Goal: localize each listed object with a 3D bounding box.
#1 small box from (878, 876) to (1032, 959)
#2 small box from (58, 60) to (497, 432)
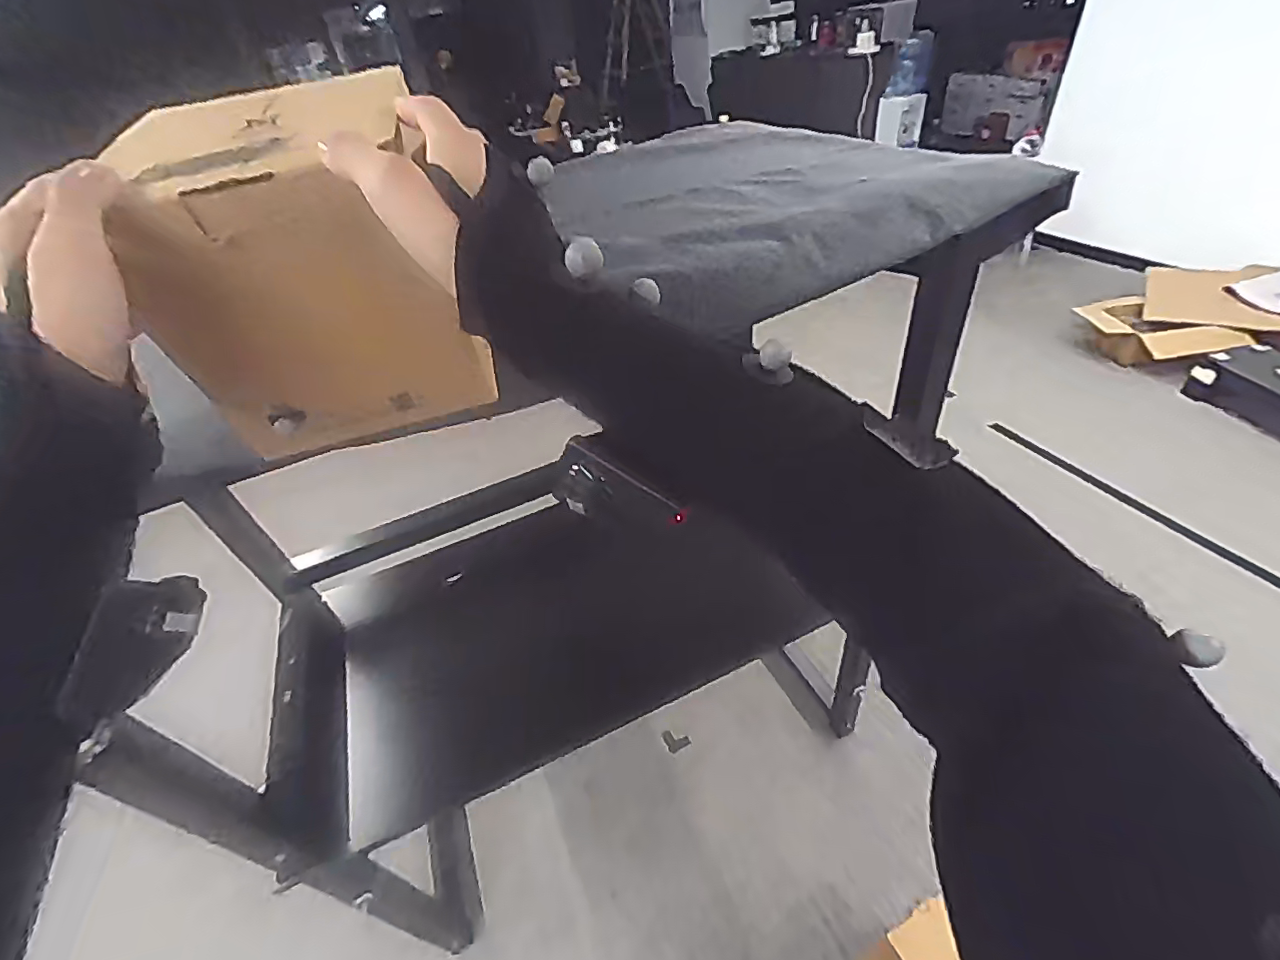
[{"bbox_3d":[0.521,0.801,0.882,0.168,0.176,0.179,-24,43,-15],"label":"small box"},{"bbox_3d":[-0.207,-0.152,0.372,0.168,0.176,0.179,-16,49,-5],"label":"small box"}]
